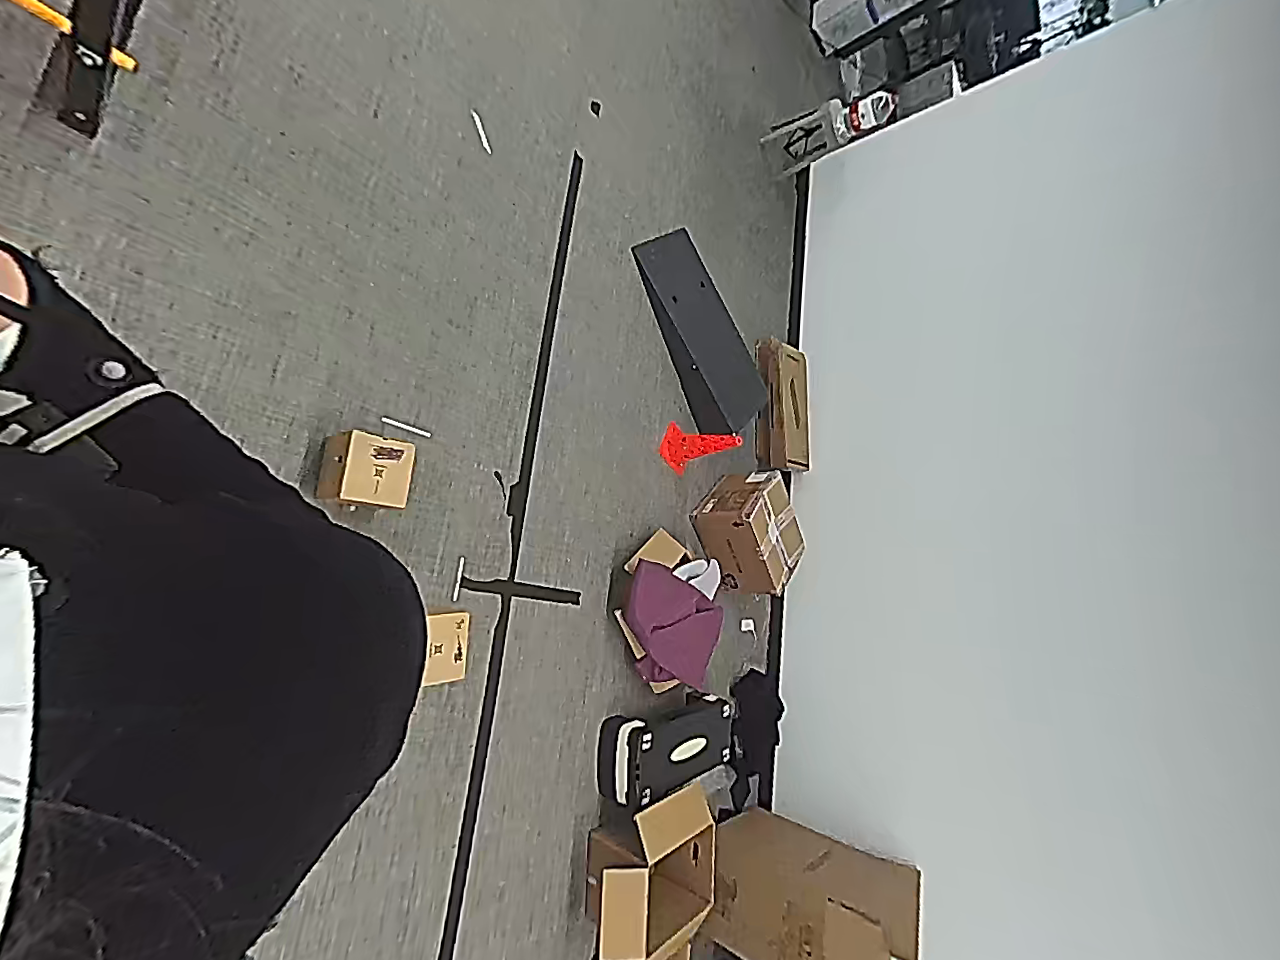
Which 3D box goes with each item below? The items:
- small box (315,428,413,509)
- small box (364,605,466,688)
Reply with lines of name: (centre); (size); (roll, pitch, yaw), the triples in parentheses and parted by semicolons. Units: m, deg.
small box: (-0.728, -0.023, 1.421); (0.168, 0.176, 0.179); (17, 74, -47)
small box: (-0.557, 0.403, 1.336); (0.179, 0.176, 0.168); (11, 79, -48)
